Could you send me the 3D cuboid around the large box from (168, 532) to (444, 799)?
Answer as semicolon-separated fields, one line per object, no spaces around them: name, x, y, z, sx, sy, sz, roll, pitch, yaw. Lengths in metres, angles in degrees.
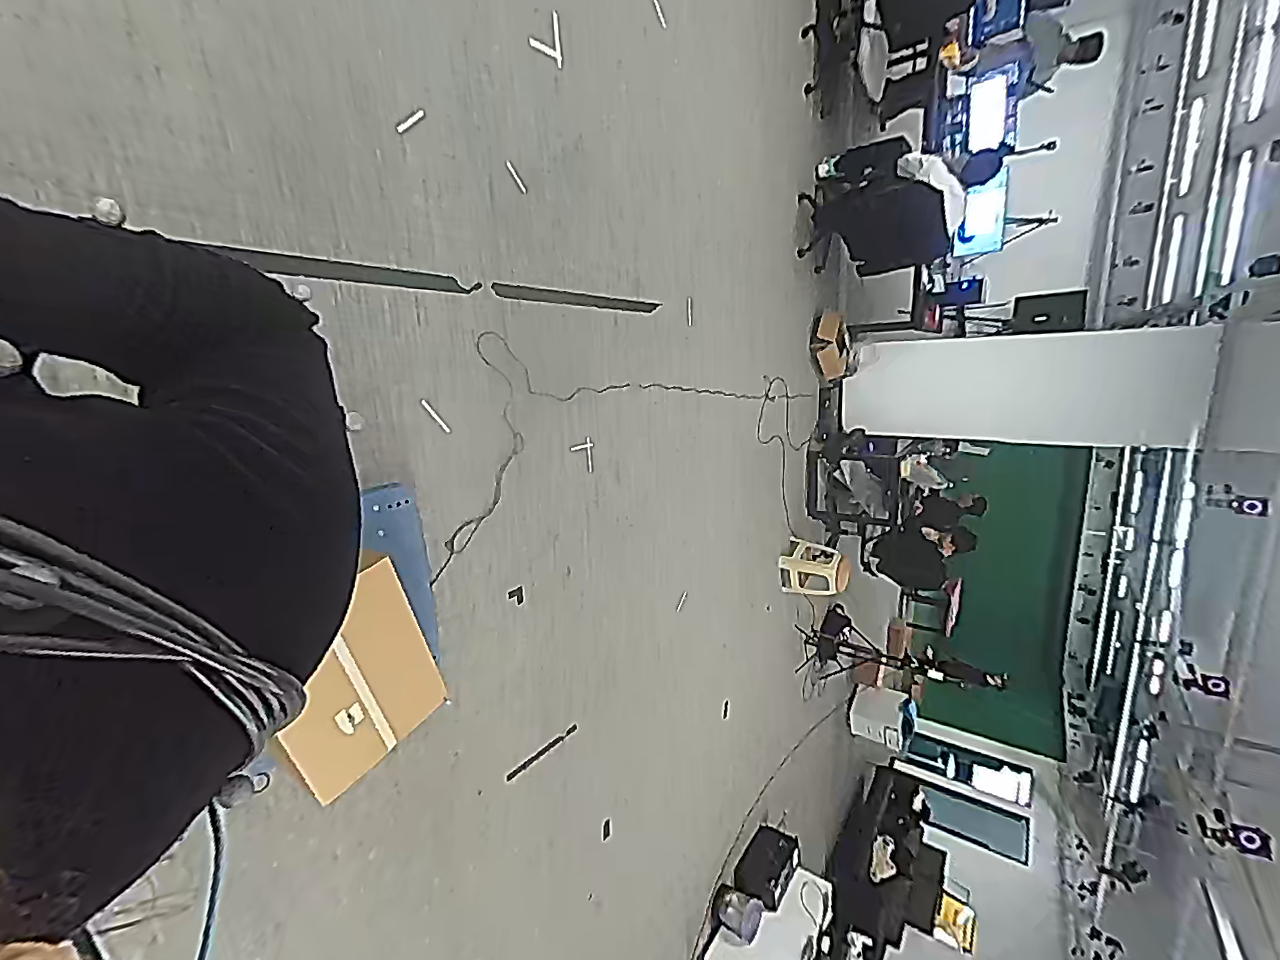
large box;-0.702;0.375;1.173;0.320;0.320;0.408;-37;125;-45
